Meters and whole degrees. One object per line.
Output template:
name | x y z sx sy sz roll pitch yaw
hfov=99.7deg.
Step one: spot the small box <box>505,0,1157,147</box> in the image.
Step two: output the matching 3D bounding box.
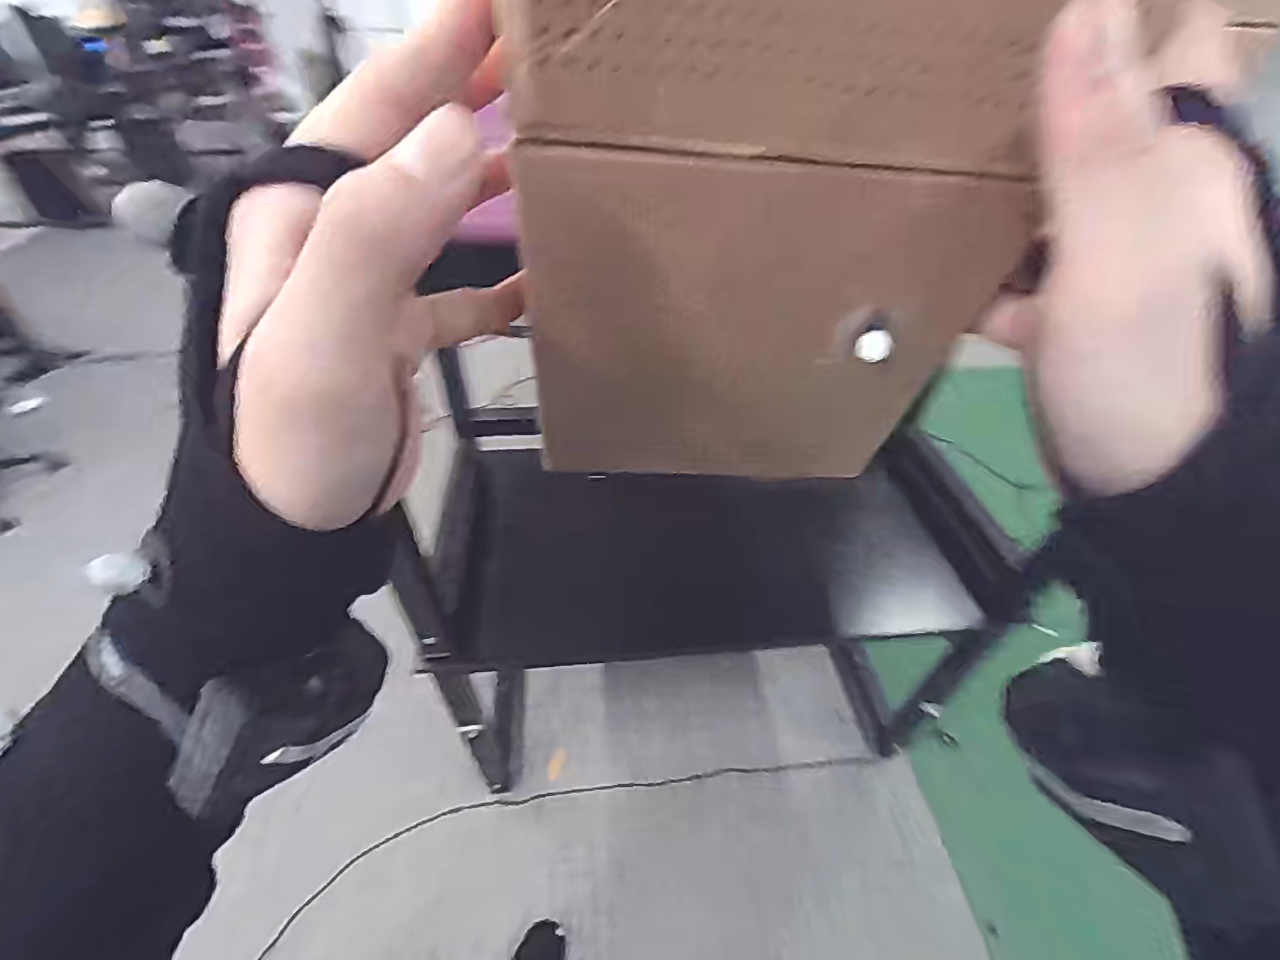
small box | 0.054 -0.210 0.134 0.179 0.176 0.168 2 56 -5
